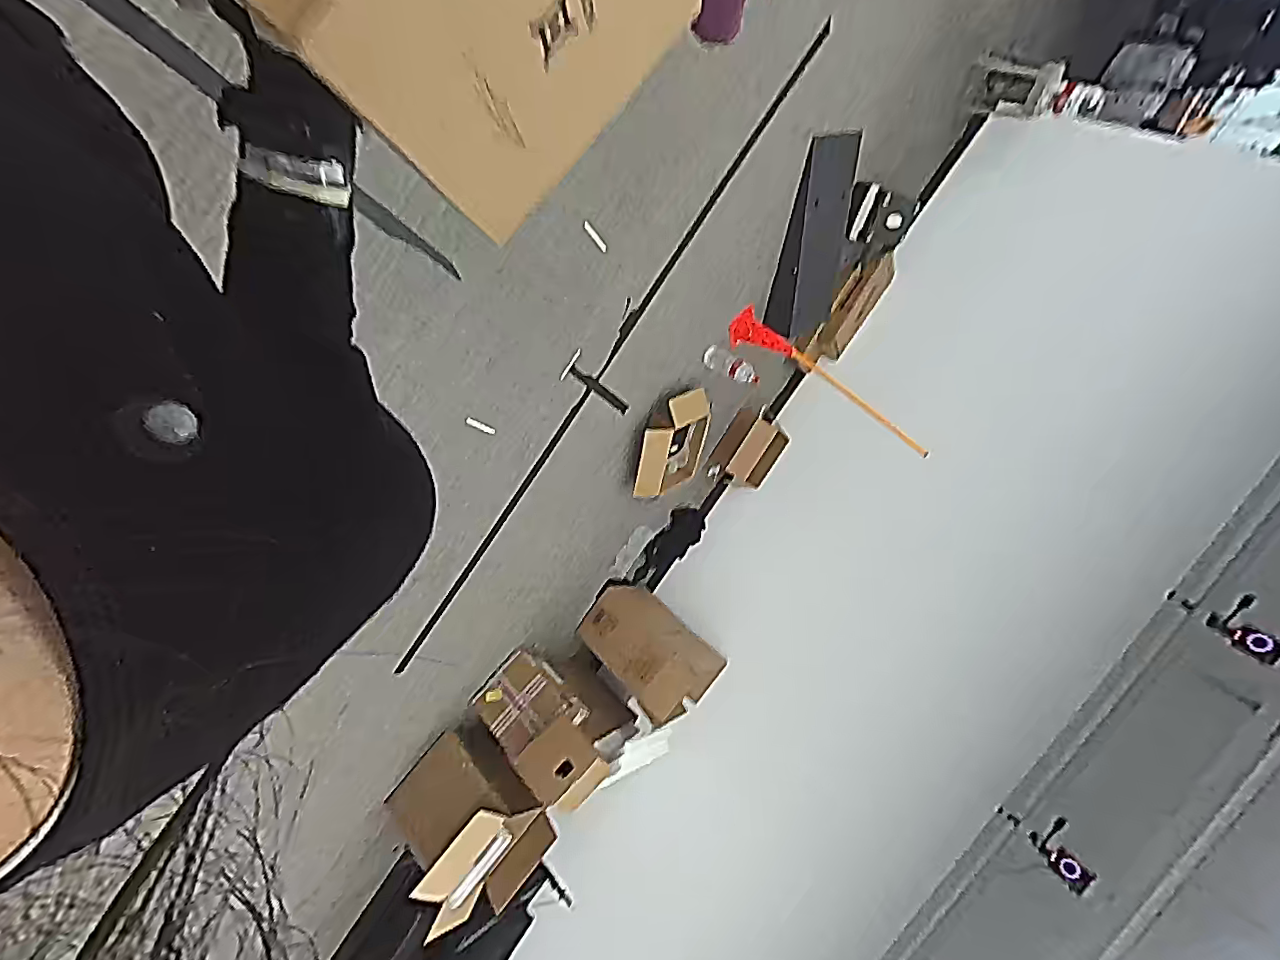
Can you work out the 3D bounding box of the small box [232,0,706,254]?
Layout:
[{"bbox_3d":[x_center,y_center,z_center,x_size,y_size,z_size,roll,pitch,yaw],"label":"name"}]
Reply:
[{"bbox_3d":[-0.088,-0.247,0.237,0.179,0.176,0.168,-46,178,7],"label":"small box"}]
